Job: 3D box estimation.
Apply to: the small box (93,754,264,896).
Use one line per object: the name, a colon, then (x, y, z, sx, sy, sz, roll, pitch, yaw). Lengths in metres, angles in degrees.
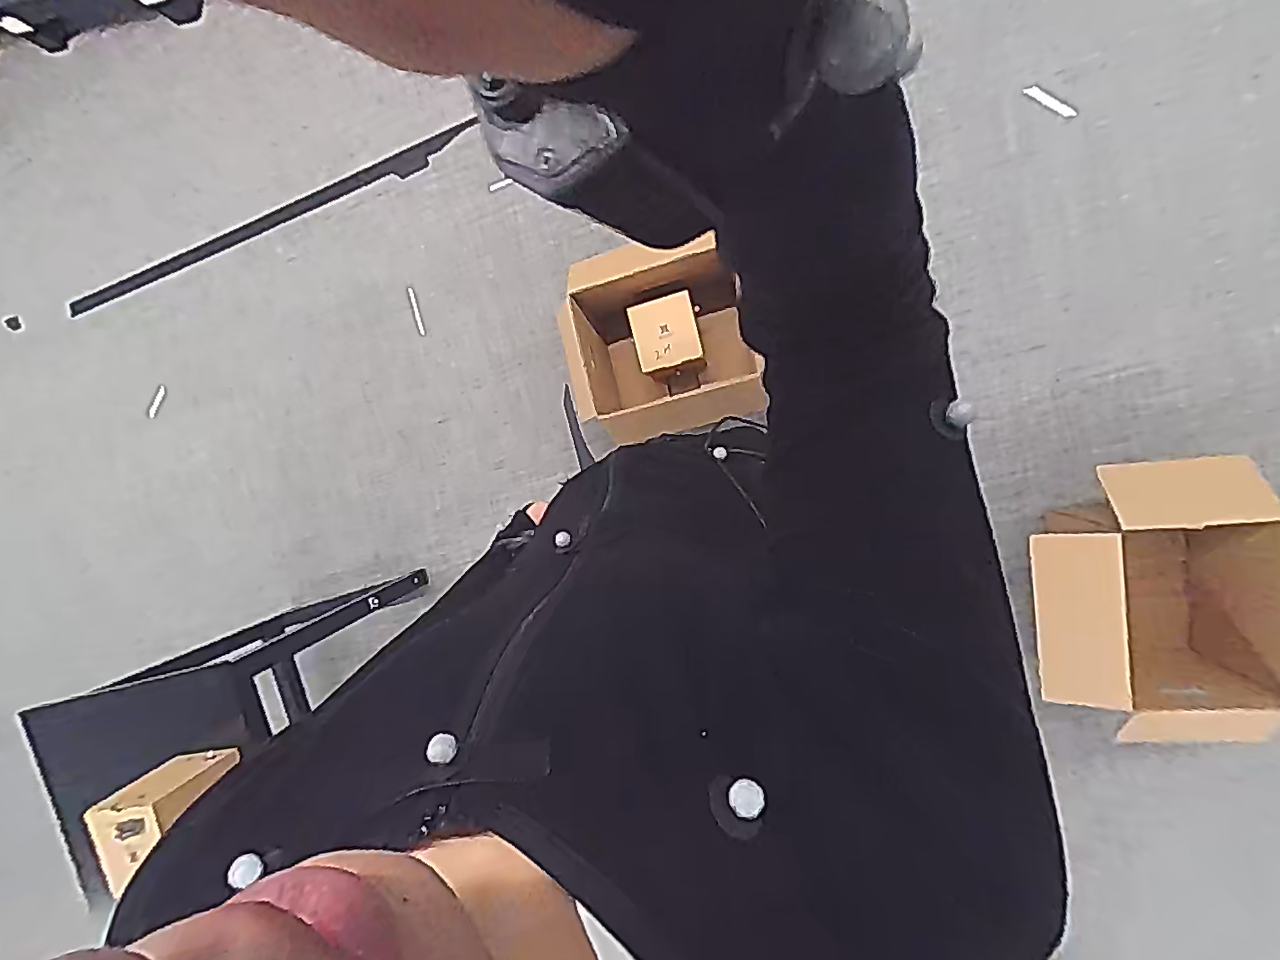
small box: (-0.887, 0.659, 1.055, 0.168, 0.176, 0.179, -13, 95, 13)
